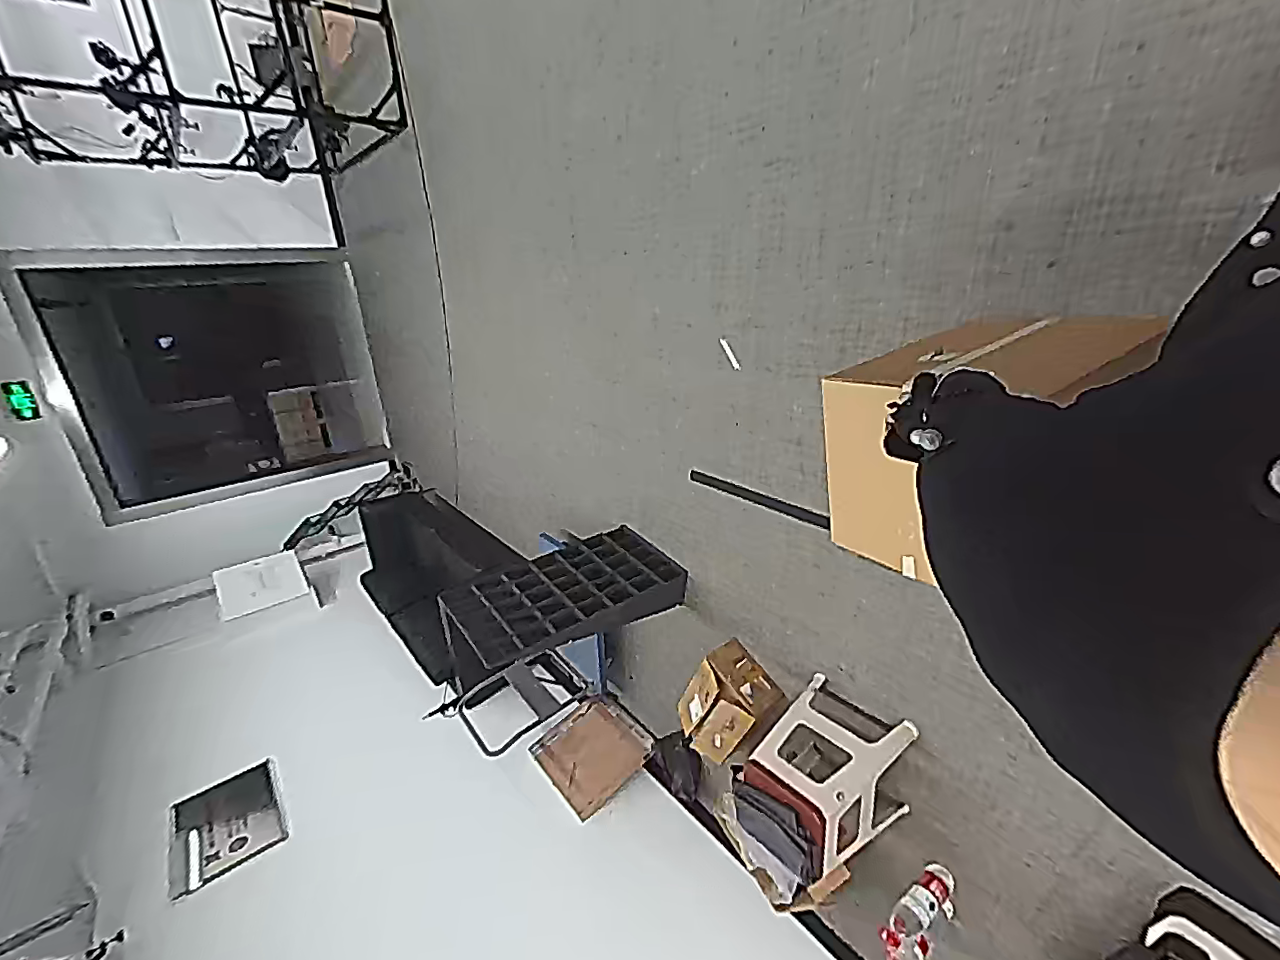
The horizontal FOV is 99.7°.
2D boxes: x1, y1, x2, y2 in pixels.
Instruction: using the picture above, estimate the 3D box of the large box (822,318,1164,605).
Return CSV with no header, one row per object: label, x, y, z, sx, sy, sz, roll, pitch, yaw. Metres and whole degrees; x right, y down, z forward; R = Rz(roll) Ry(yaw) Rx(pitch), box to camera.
large box,0.563,-0.063,0.892,0.320,0.408,0.320,23,131,56
